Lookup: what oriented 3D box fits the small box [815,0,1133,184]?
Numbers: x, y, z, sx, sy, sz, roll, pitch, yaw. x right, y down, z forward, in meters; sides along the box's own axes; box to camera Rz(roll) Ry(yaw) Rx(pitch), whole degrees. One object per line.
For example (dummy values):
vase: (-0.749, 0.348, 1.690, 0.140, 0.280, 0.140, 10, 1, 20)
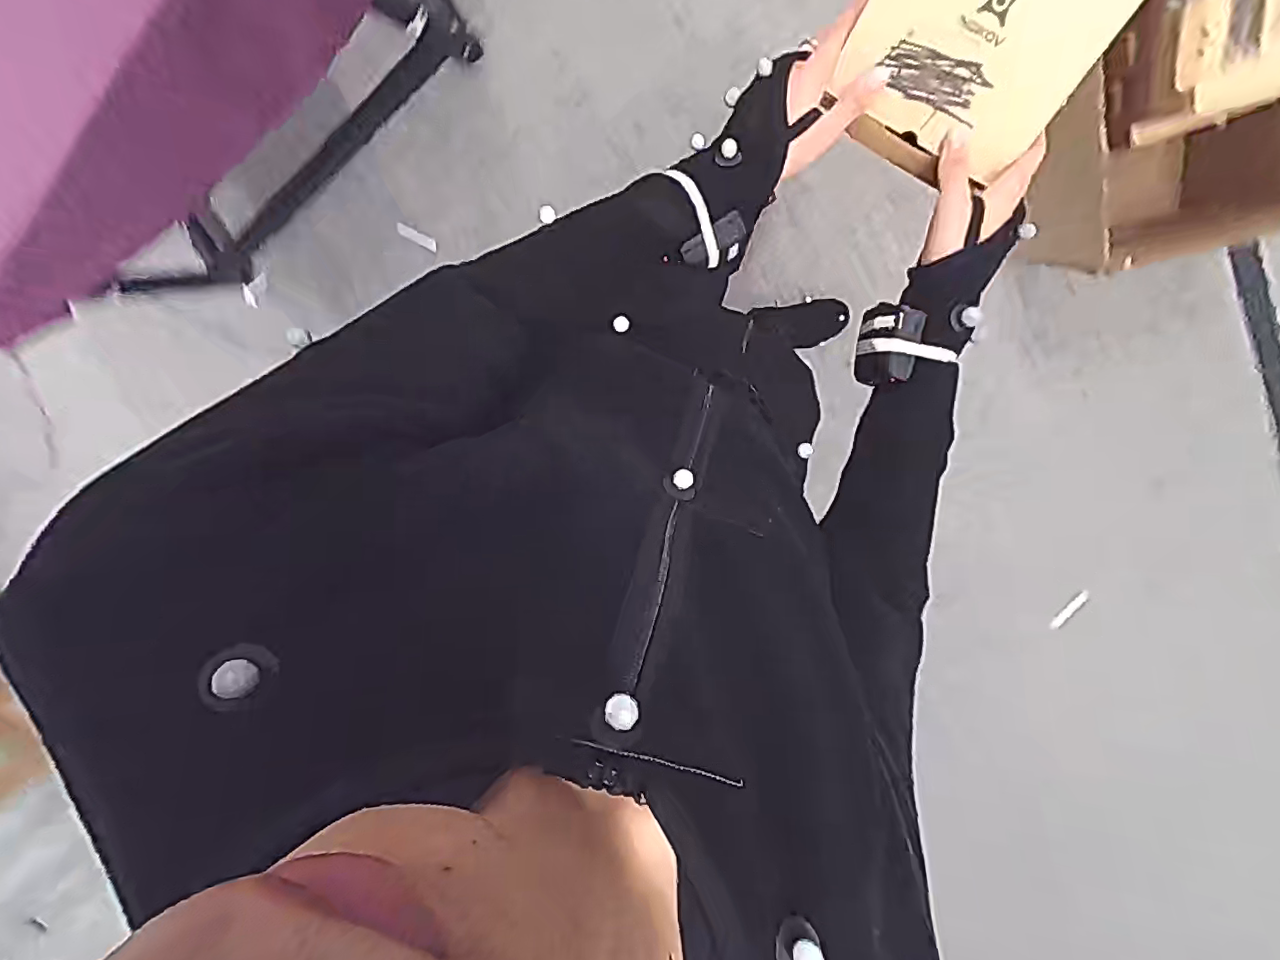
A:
small box: (0.264, -0.375, 0.447, 0.168, 0.176, 0.179, 27, 124, -2)
